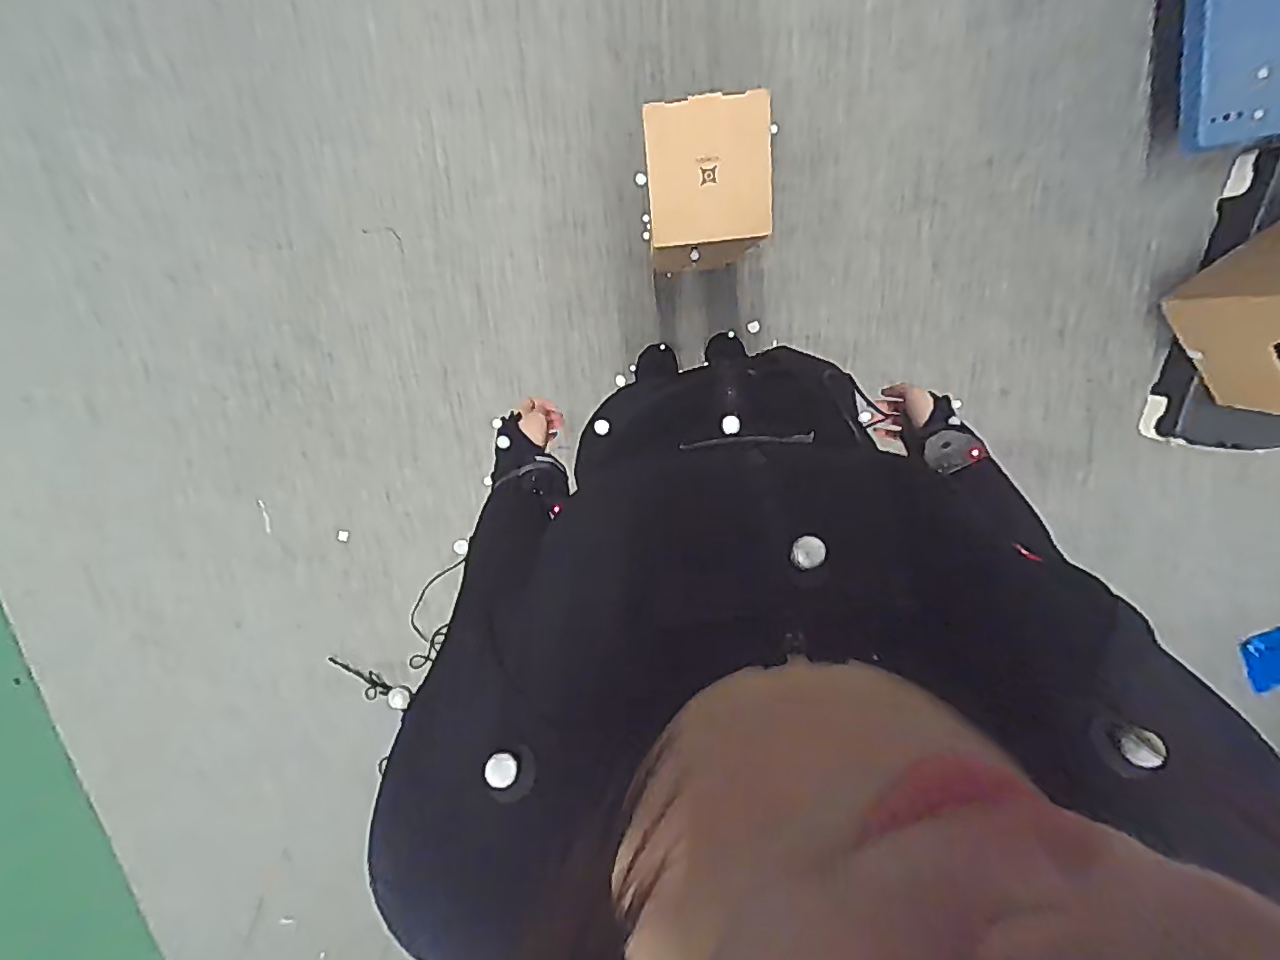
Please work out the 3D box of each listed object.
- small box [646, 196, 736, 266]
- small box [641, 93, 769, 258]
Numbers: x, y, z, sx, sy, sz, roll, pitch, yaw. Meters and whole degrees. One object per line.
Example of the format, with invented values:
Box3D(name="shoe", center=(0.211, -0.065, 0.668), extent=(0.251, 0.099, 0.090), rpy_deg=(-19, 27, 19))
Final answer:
Box3D(name="small box", center=(0.105, -0.534, 1.099), extent=(0.179, 0.176, 0.168), rpy_deg=(-2, 107, 3))
Box3D(name="small box", center=(0.094, -0.427, 0.790), extent=(0.168, 0.176, 0.179), rpy_deg=(-4, 106, 5))
